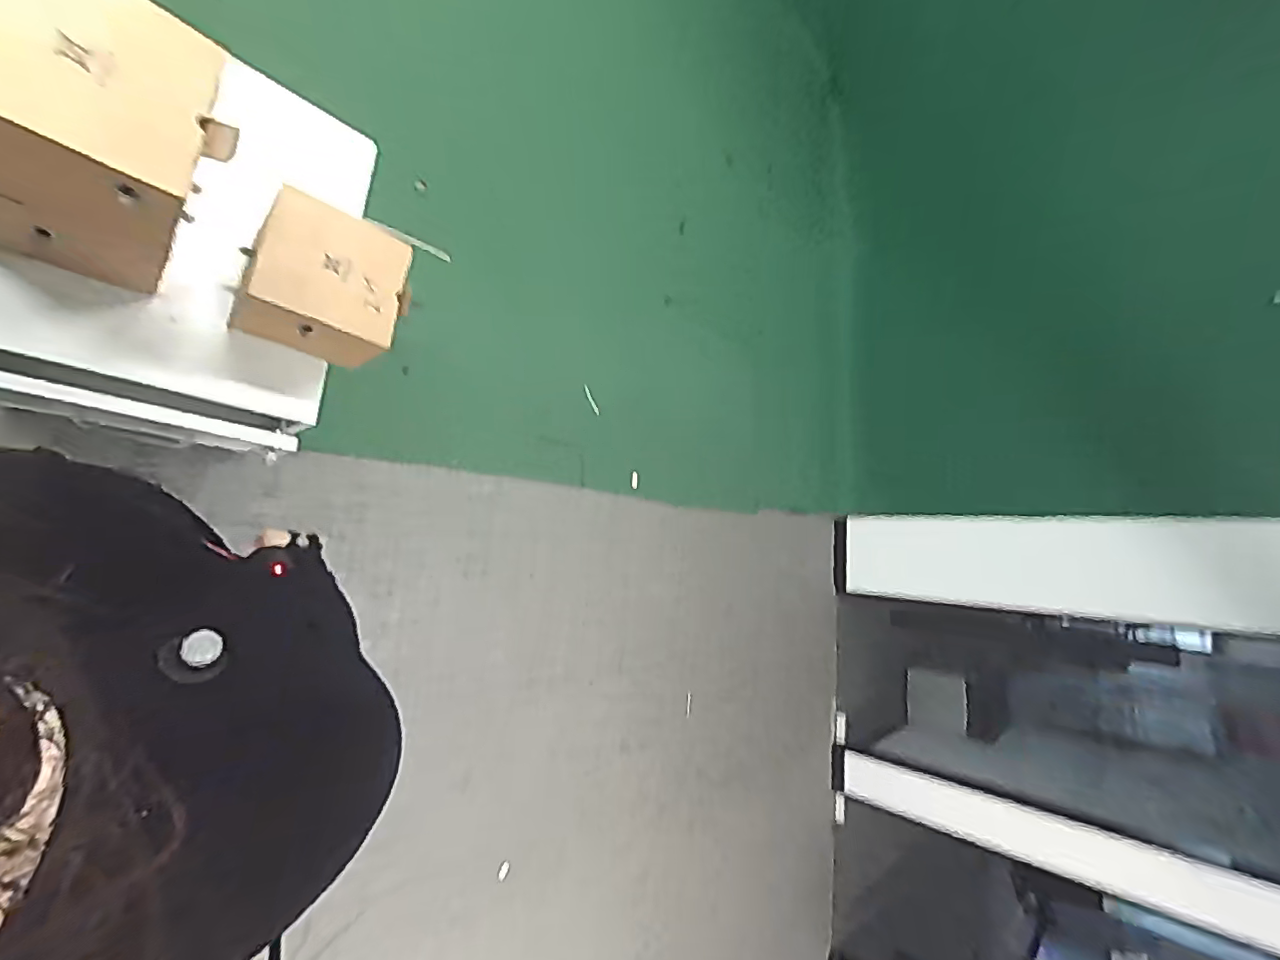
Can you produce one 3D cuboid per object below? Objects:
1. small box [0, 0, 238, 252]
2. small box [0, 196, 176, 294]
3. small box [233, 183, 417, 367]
[{"bbox_3d":[-0.515,-0.343,0.503,0.179,0.176,0.168,17,76,-46],"label":"small box"},{"bbox_3d":[-0.633,-0.336,0.615,0.179,0.176,0.168,15,77,-45],"label":"small box"},{"bbox_3d":[-0.459,-0.278,0.786,0.179,0.176,0.168,19,75,-43],"label":"small box"}]
